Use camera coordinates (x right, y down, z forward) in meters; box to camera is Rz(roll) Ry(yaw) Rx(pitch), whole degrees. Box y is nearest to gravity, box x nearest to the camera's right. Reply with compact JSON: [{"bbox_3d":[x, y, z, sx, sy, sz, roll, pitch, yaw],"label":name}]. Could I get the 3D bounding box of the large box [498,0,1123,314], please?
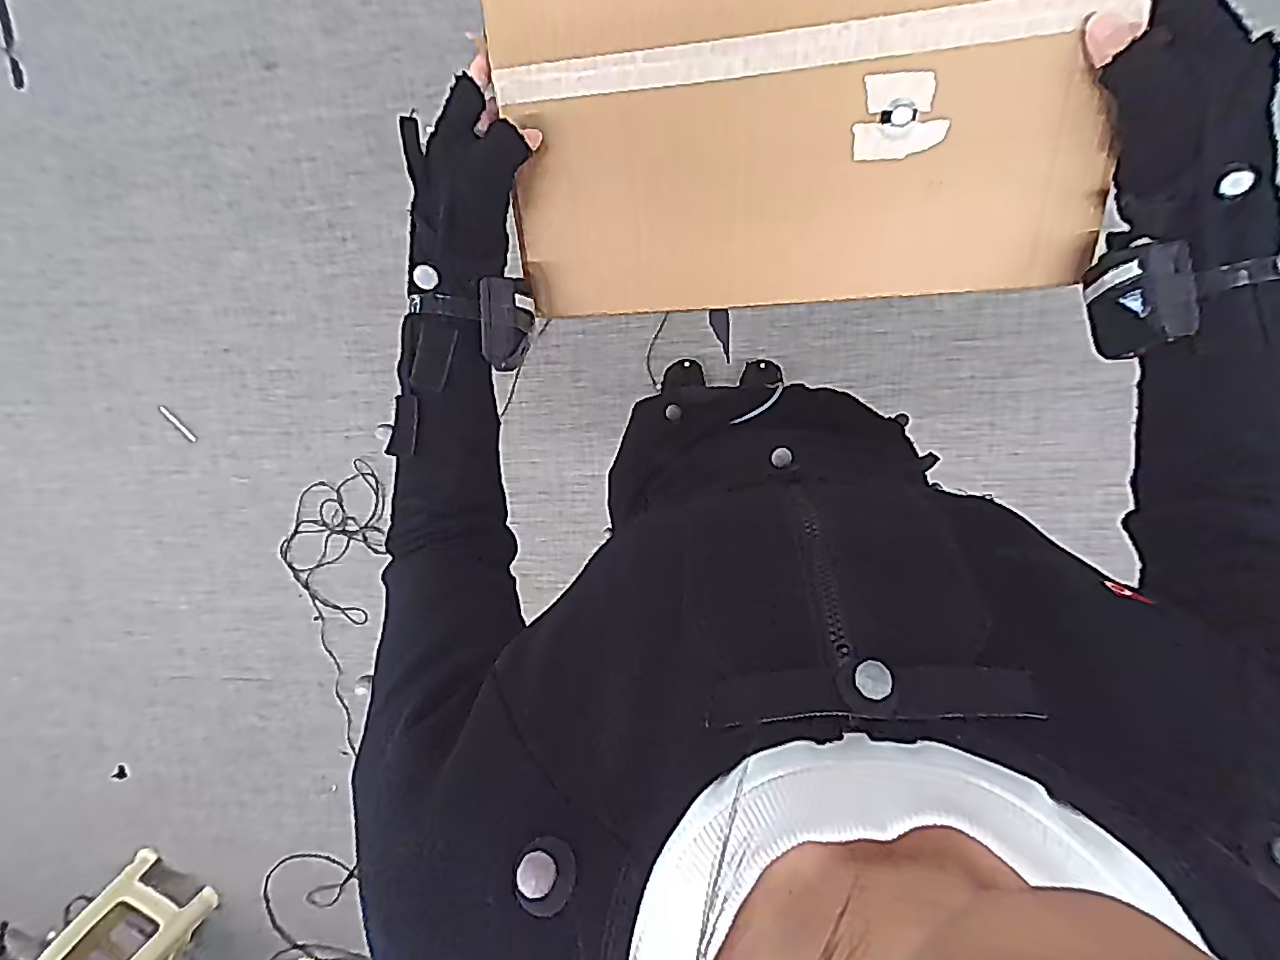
[{"bbox_3d":[0.118,-0.342,0.498,0.408,0.320,0.320,-1,113,8],"label":"large box"}]
